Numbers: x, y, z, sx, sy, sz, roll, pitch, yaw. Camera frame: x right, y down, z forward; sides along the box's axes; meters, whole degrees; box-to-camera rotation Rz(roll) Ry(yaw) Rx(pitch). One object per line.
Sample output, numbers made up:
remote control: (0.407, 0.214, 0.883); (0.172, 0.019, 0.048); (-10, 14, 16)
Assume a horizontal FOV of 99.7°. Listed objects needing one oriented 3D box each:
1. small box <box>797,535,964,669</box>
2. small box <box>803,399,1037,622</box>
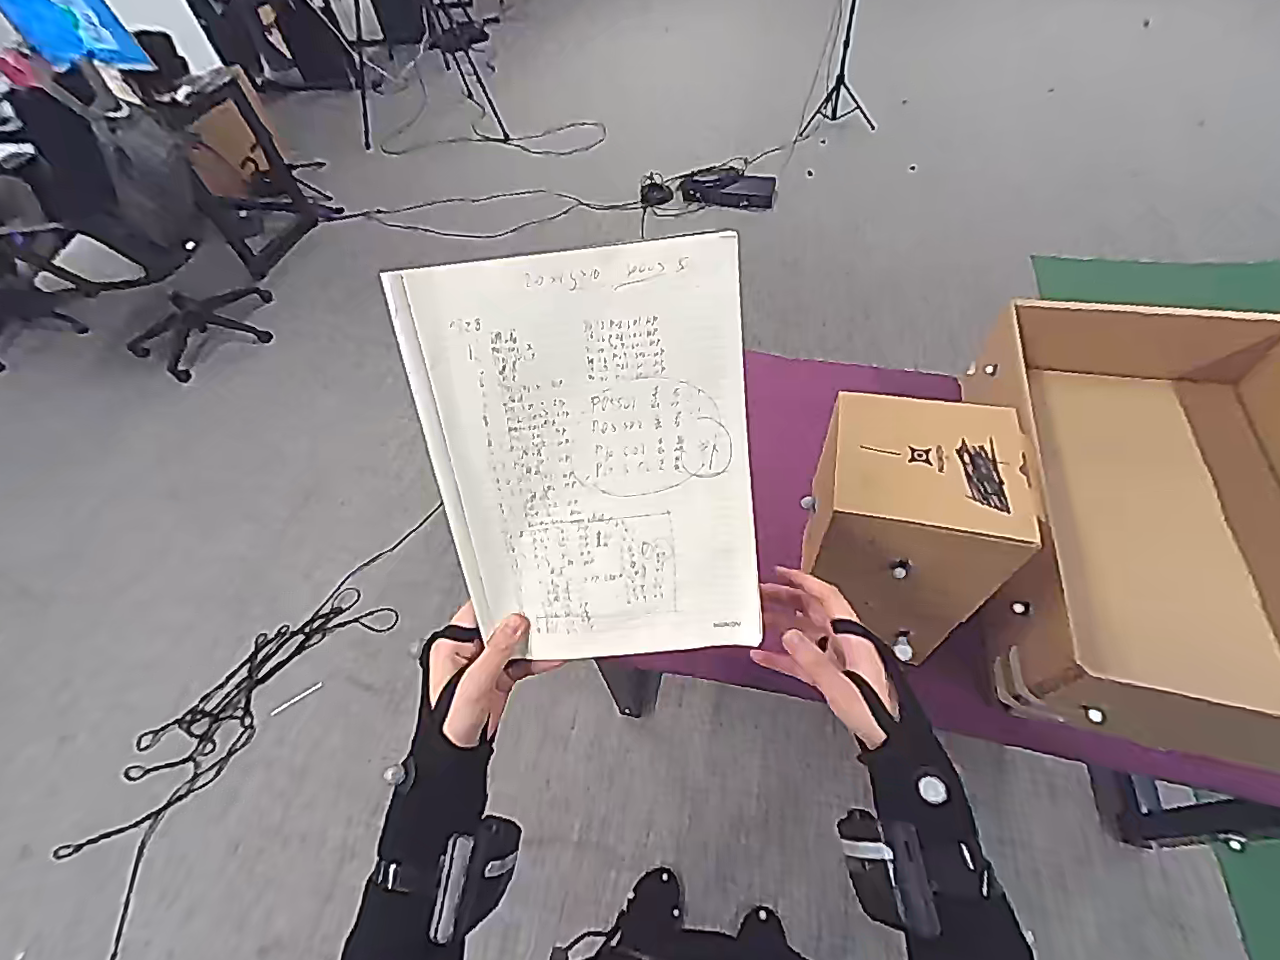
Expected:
small box: (0.310, 0.131, 0.725); (0.168, 0.176, 0.179); (9, 53, 13)
small box: (0.287, 0.038, 0.592); (0.179, 0.176, 0.168); (9, 53, 13)
